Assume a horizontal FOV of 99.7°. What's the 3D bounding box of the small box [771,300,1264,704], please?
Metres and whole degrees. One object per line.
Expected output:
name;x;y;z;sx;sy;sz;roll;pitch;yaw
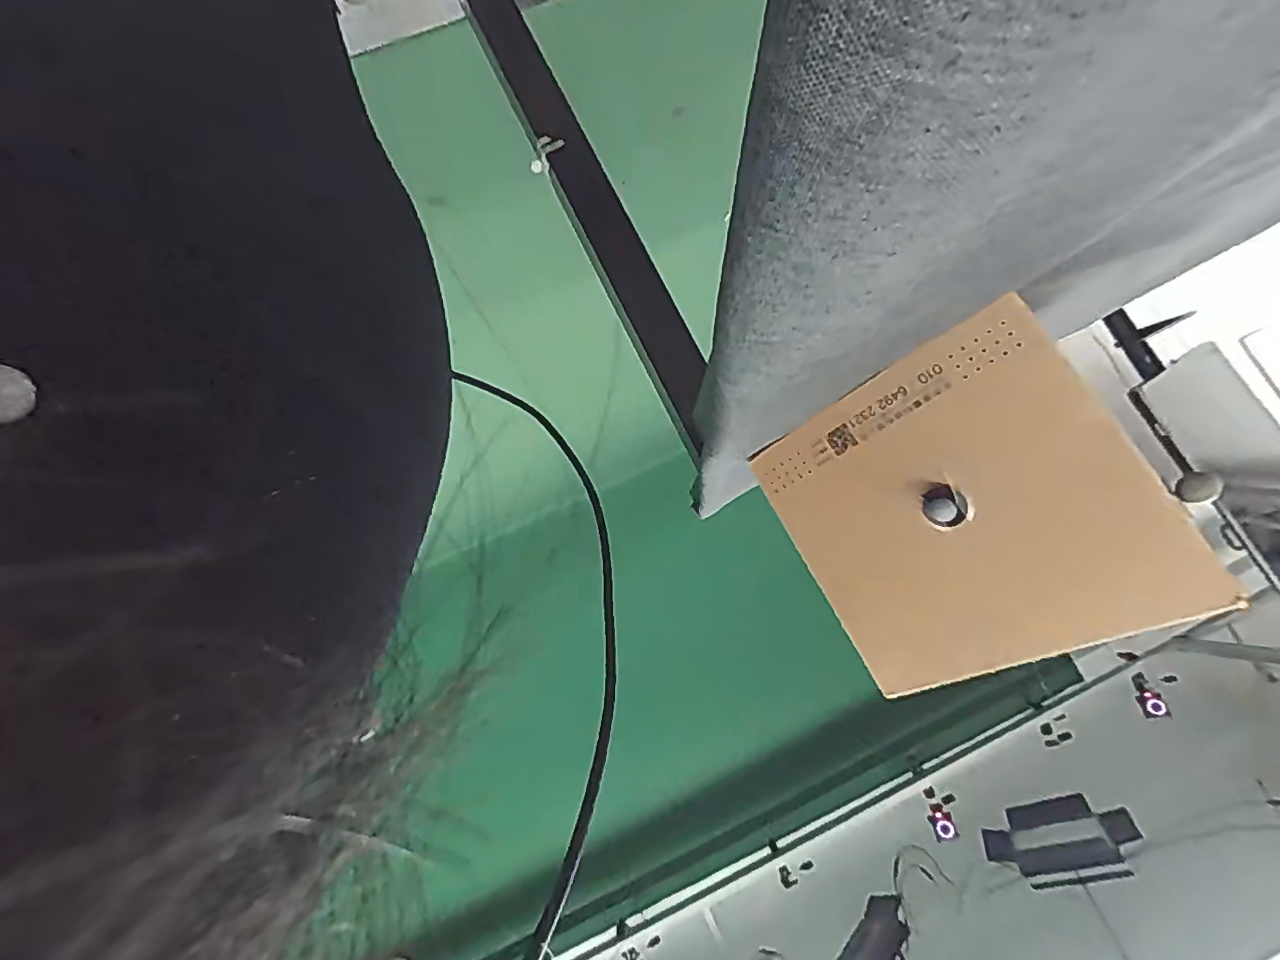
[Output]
small box;0.215;0.008;0.346;0.168;0.176;0.179;-37;166;37
